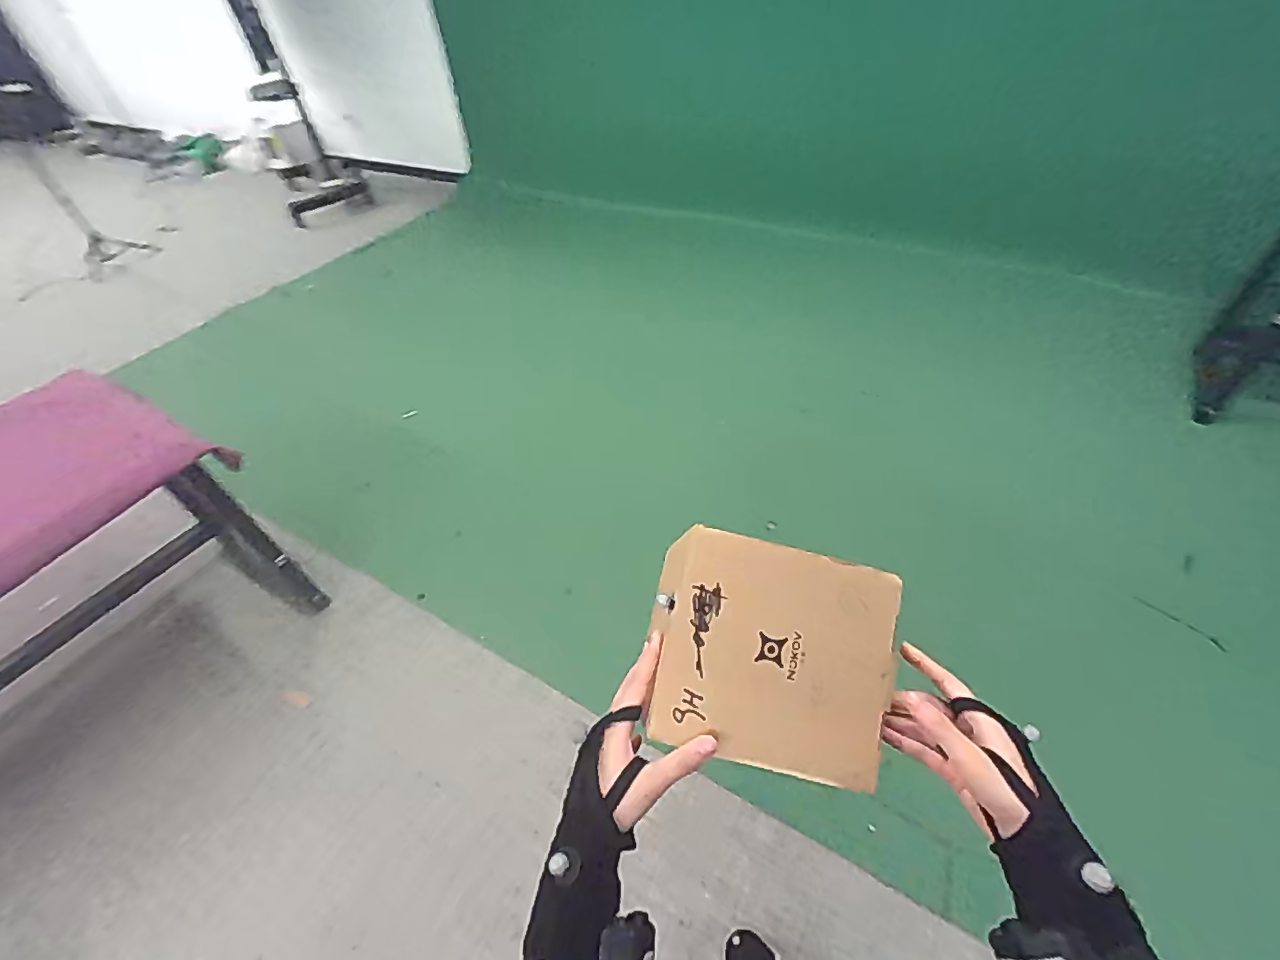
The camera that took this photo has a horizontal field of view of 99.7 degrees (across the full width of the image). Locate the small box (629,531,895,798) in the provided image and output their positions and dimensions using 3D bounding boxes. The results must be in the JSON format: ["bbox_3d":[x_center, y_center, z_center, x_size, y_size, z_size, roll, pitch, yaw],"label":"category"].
[{"bbox_3d":[0.095,0.154,0.488,0.179,0.176,0.168,14,76,-1],"label":"small box"}]
